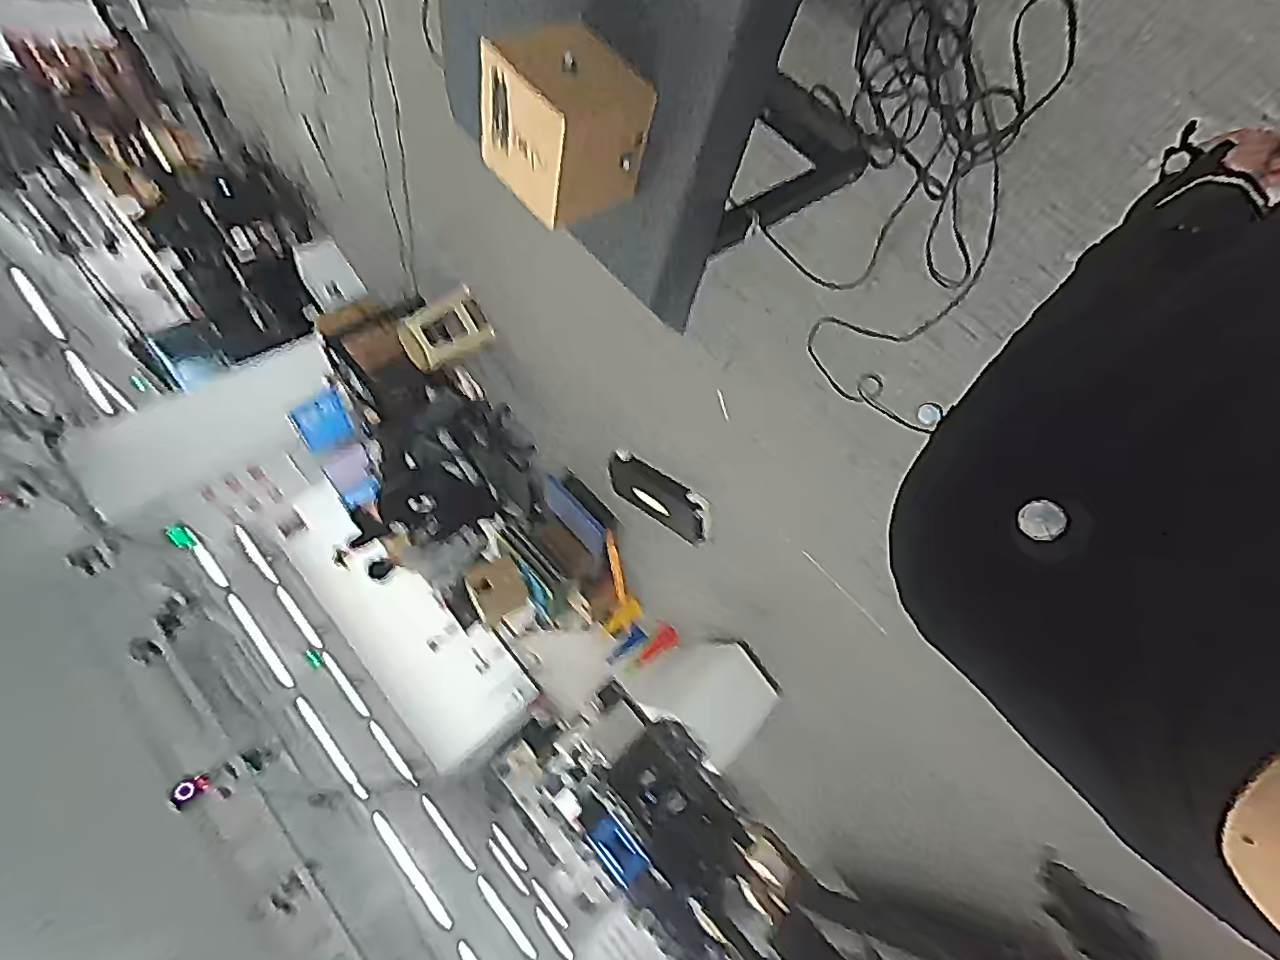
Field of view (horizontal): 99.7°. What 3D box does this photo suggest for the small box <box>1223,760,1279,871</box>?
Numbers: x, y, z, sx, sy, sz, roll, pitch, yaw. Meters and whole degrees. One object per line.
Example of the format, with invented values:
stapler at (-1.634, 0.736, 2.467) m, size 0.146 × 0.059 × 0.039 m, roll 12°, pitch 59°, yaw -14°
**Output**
small box at (1.587, 0.840, 1.328) m, size 0.168 × 0.176 × 0.179 m, roll 17°, pitch 136°, yaw 48°
